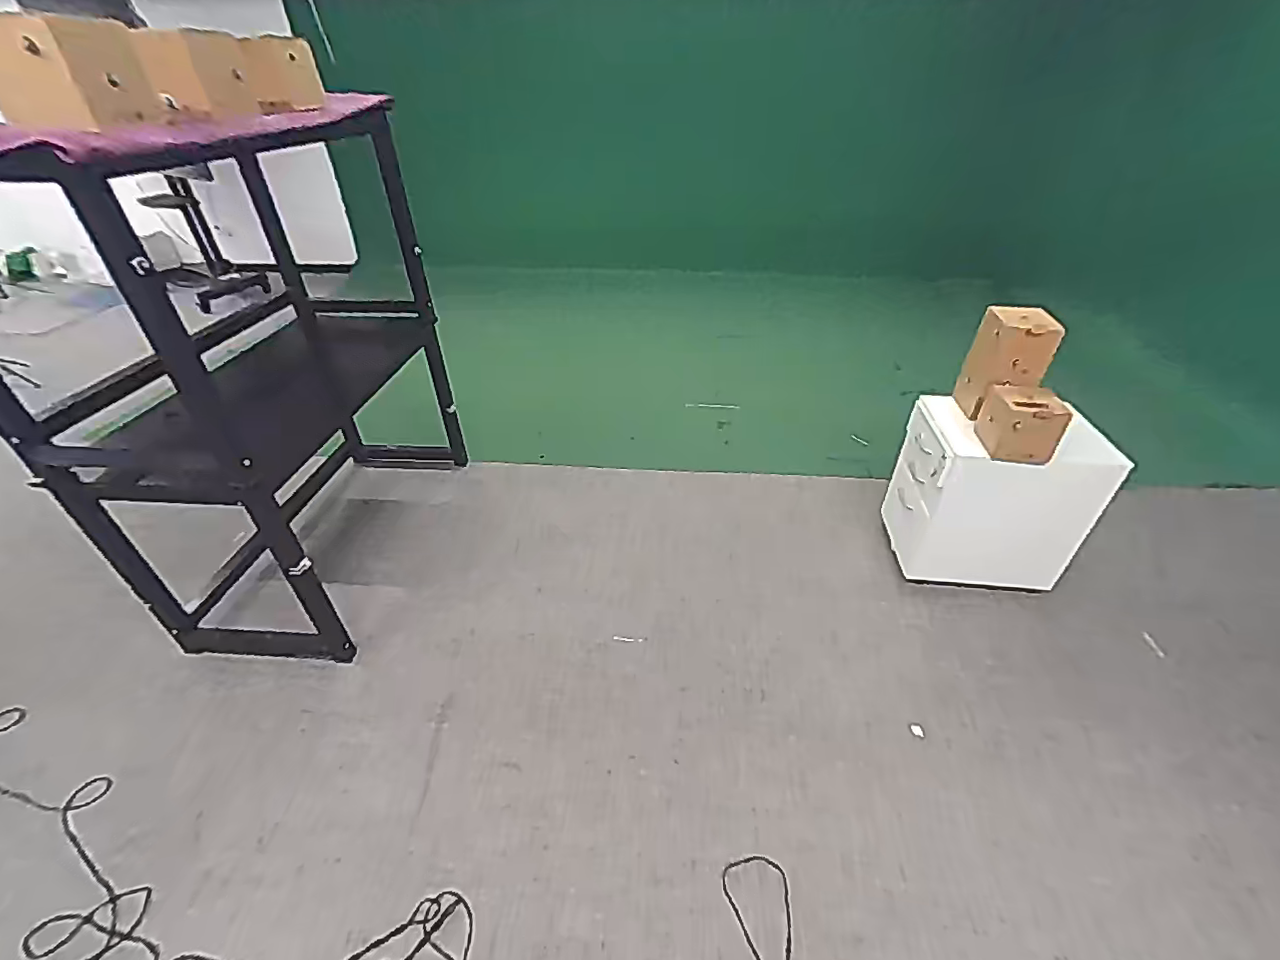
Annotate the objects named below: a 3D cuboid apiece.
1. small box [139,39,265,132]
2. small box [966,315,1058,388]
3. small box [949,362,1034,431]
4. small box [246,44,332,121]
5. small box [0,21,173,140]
[{"bbox_3d":[-1.036,-0.935,1.283,0.168,0.176,0.179,1,37,3],"label":"small box"},{"bbox_3d":[1.199,-0.419,1.759,0.168,0.176,0.179,5,39,6],"label":"small box"},{"bbox_3d":[1.197,-0.288,1.857,0.168,0.176,0.179,4,37,5],"label":"small box"},{"bbox_3d":[-1.032,-1.143,1.563,0.168,0.176,0.179,2,36,6],"label":"small box"},{"bbox_3d":[-1.052,-0.749,1.022,0.179,0.176,0.168,2,35,3],"label":"small box"}]
